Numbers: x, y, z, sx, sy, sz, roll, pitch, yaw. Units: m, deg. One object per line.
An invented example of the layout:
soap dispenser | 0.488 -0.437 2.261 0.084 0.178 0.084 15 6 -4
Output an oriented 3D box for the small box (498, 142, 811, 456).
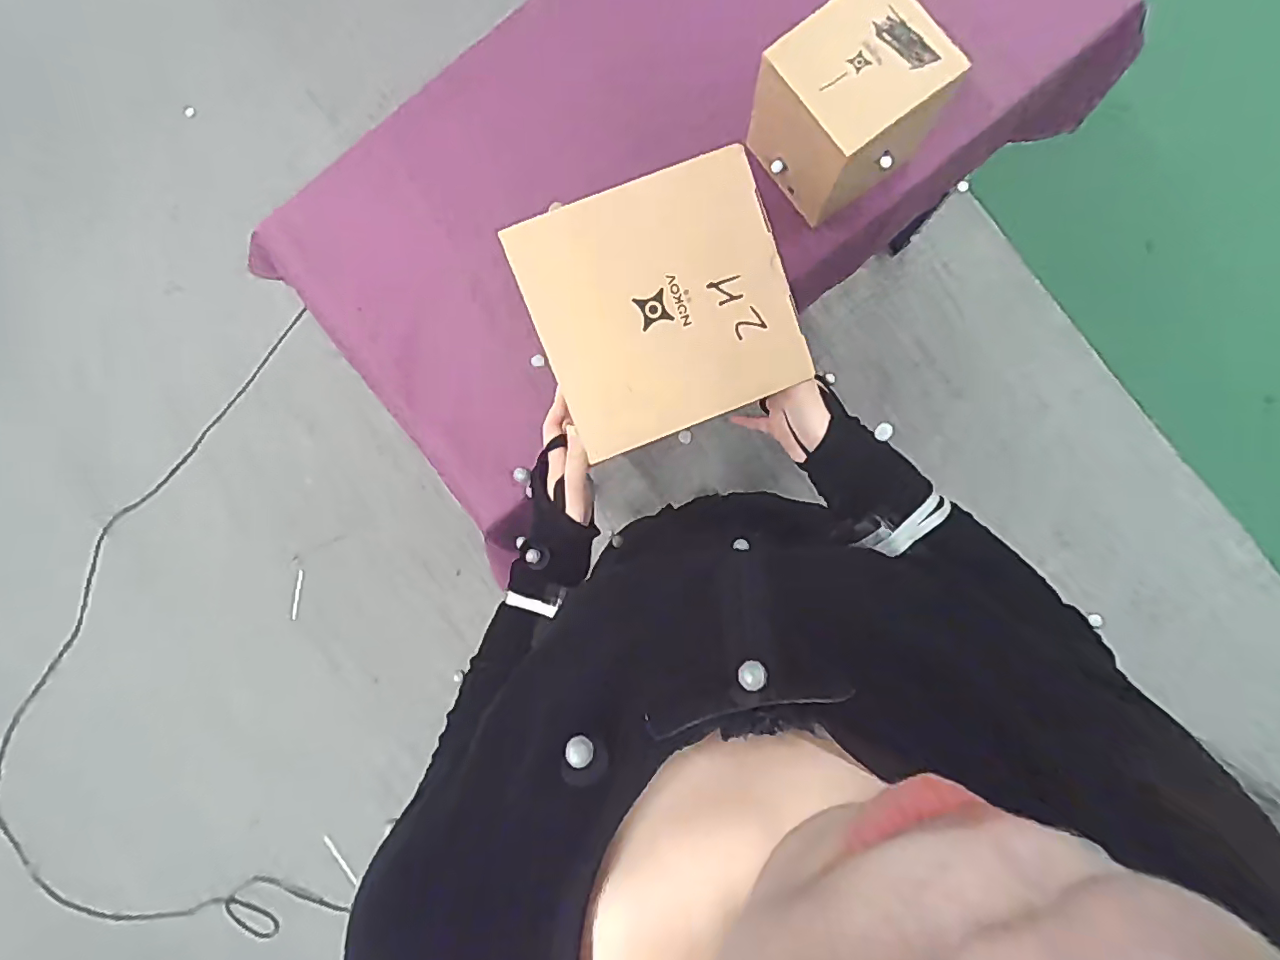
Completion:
small box | 0.007 -0.130 0.443 0.179 0.176 0.168 -21 100 -3

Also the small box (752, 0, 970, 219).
small box | 0.264 -0.485 0.697 0.179 0.176 0.168 -36 85 3
